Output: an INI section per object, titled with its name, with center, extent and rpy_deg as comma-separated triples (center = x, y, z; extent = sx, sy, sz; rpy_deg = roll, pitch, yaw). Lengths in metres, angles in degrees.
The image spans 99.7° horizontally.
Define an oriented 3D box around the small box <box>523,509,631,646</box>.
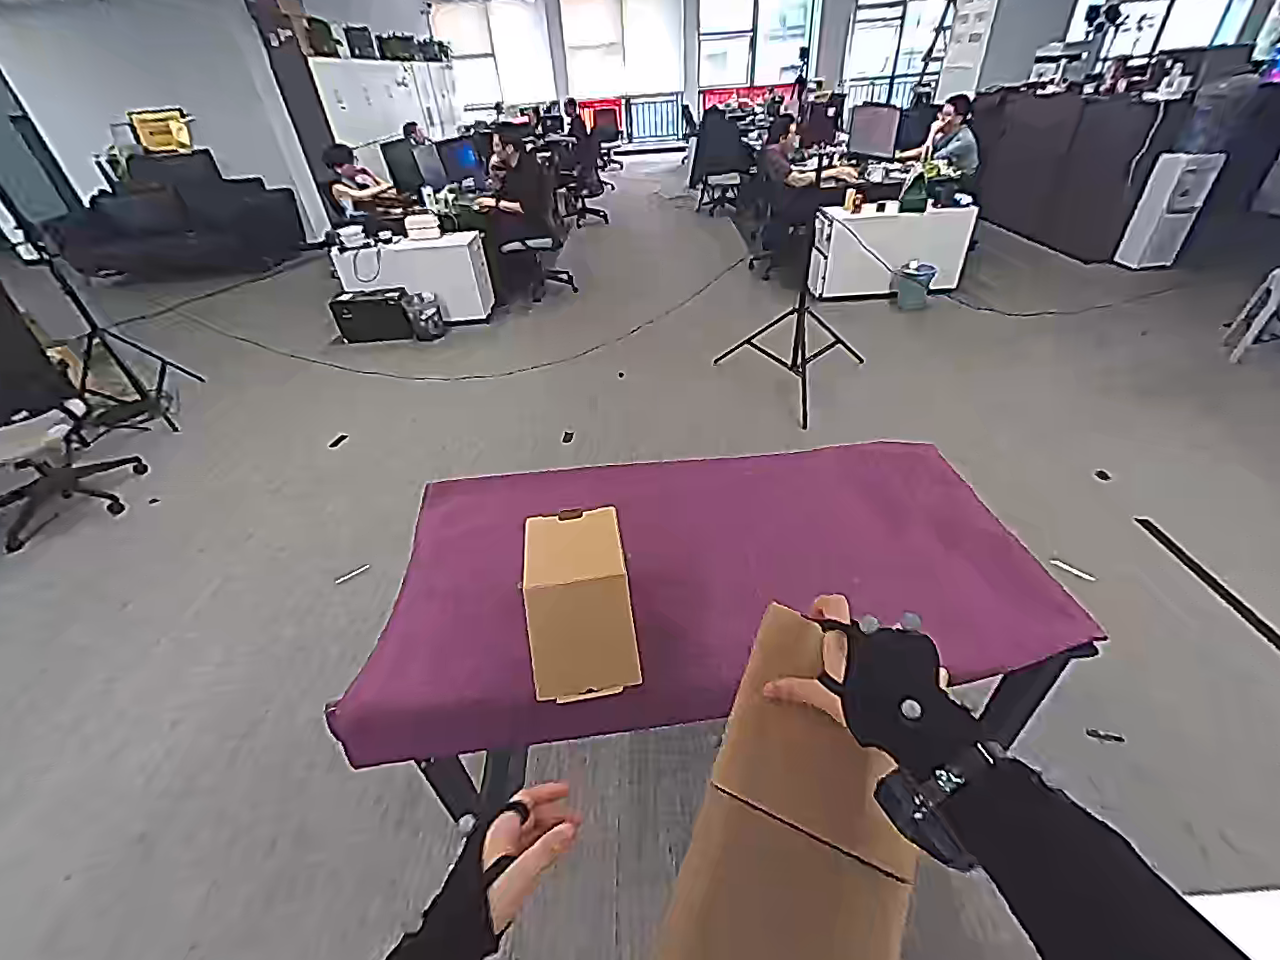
[small box]
center = -0.110, 0.178, 0.970
extent = 0.168, 0.176, 0.179
rpy_deg = -8, 35, -5
